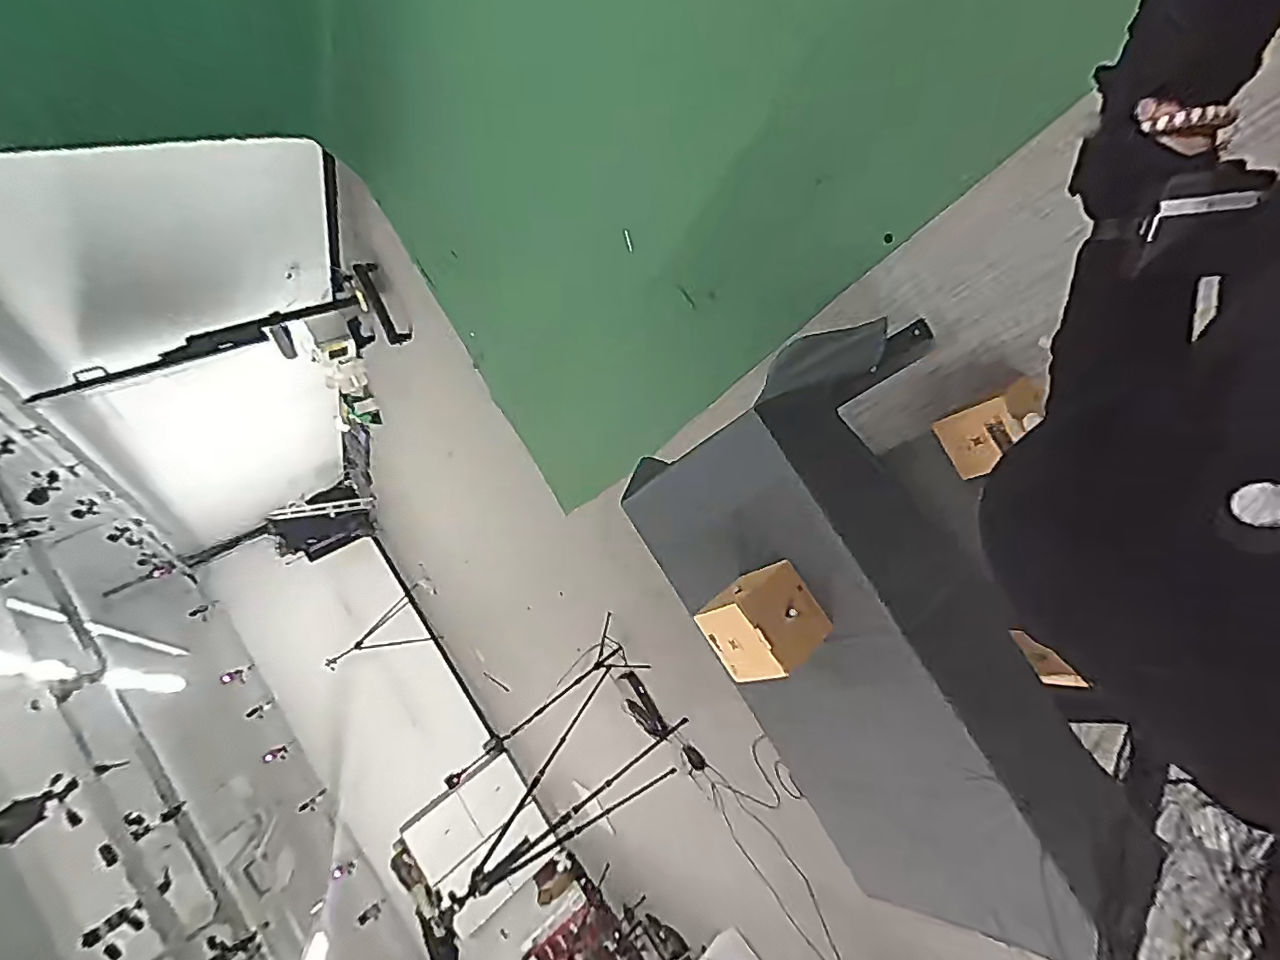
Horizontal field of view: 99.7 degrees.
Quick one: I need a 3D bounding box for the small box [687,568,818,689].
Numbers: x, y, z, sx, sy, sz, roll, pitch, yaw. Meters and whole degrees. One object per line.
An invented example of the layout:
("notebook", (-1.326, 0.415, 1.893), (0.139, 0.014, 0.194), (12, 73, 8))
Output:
("small box", (0.236, 0.302, 1.107), (0.168, 0.176, 0.179), (57, 145, 5))
